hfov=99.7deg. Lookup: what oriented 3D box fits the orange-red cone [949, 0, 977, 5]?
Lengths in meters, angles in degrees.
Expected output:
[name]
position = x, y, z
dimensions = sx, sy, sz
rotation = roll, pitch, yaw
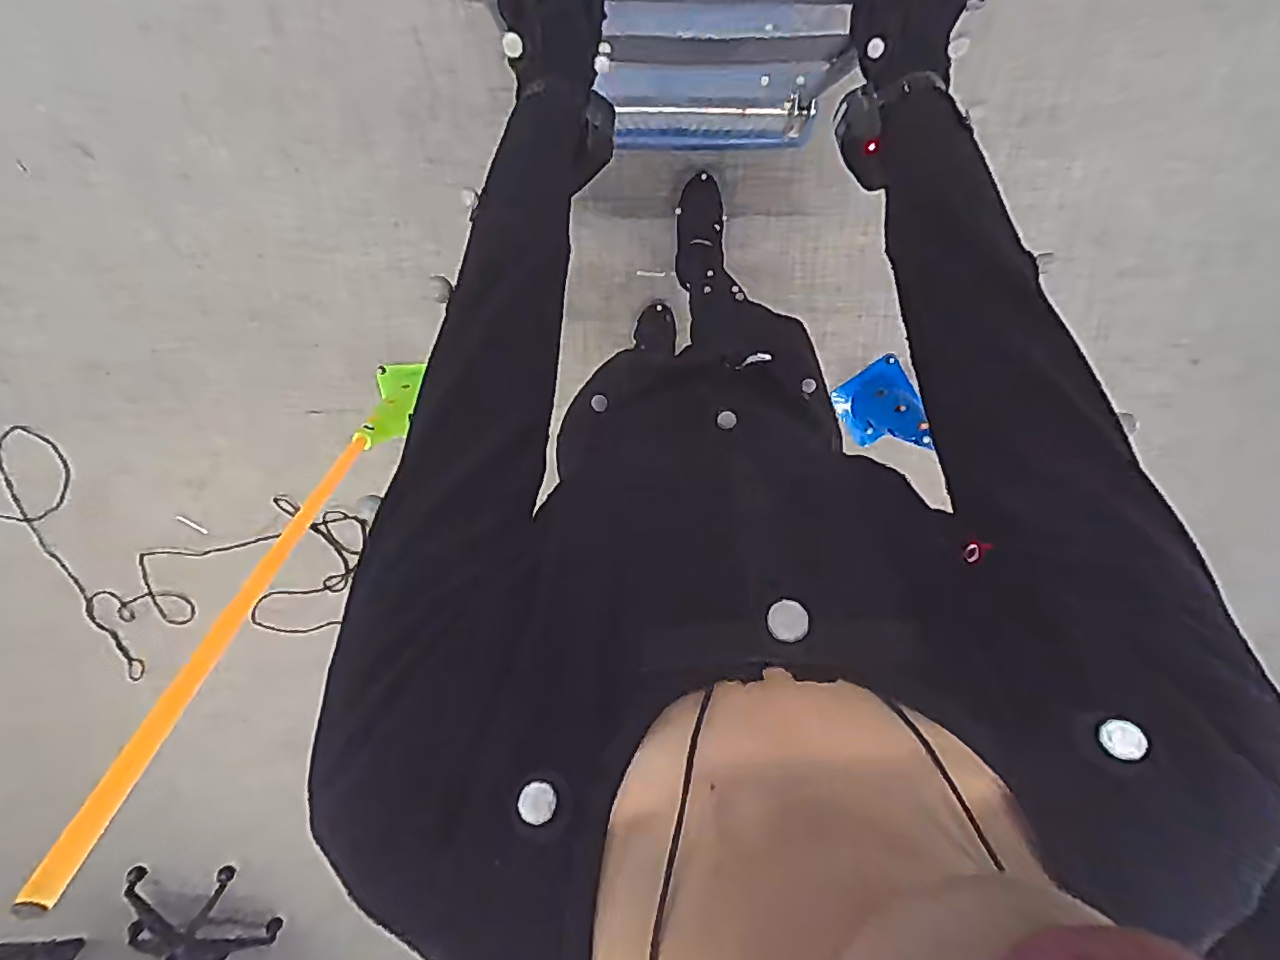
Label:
[orange-red cone]
position = 0.644, -1.045, 0.950
dimensions = 0.198, 0.360, 0.199
rotation = 9, 112, -4
